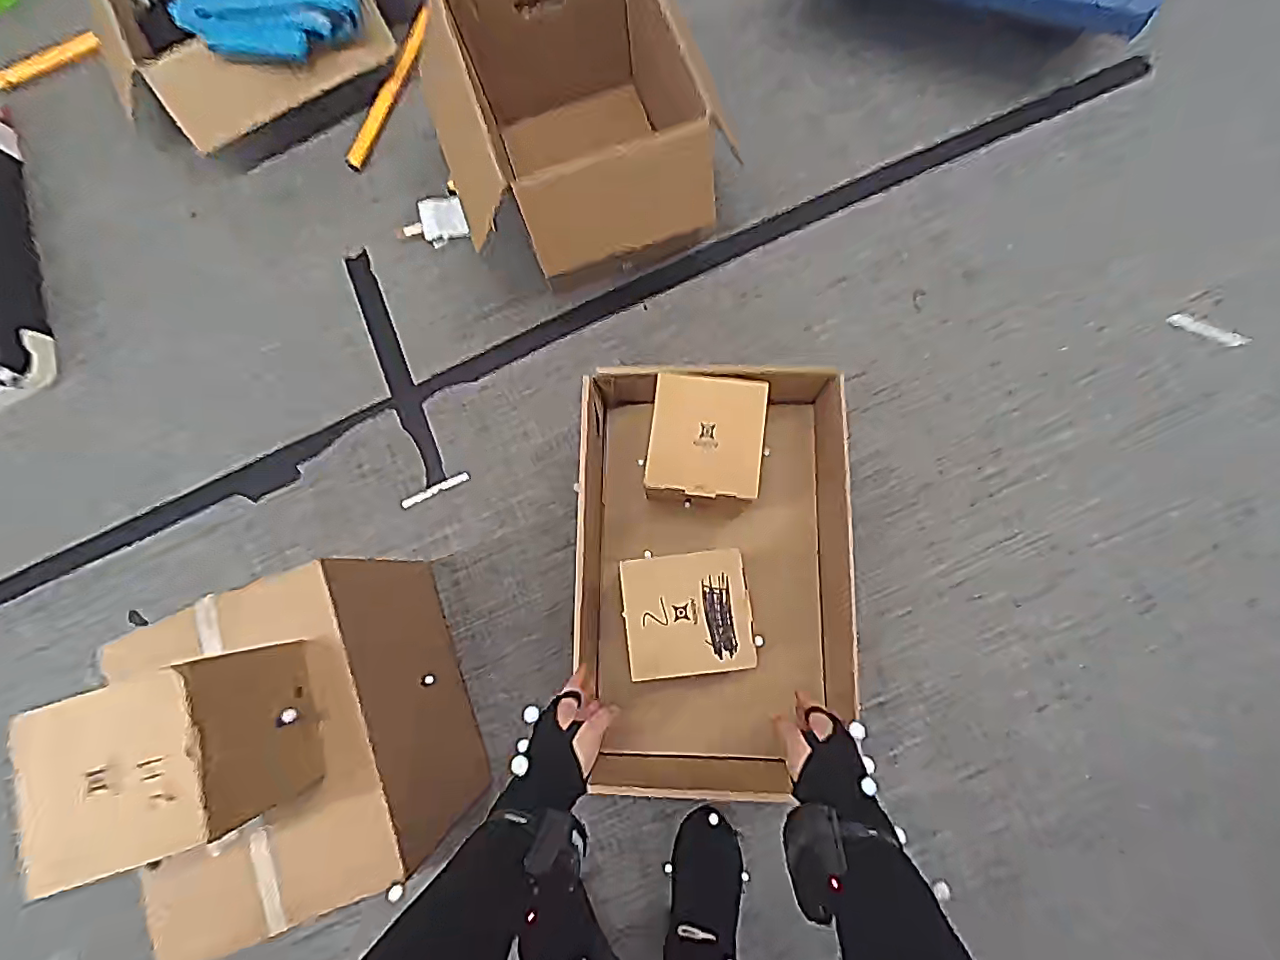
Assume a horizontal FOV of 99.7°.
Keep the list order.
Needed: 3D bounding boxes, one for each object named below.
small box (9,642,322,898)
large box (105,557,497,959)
[{"bbox_3d":[-0.480,0.283,0.570,0.179,0.176,0.168,-18,81,0],"label":"small box"},{"bbox_3d":[-0.462,0.357,0.807,0.320,0.320,0.408,-23,81,1],"label":"large box"}]
